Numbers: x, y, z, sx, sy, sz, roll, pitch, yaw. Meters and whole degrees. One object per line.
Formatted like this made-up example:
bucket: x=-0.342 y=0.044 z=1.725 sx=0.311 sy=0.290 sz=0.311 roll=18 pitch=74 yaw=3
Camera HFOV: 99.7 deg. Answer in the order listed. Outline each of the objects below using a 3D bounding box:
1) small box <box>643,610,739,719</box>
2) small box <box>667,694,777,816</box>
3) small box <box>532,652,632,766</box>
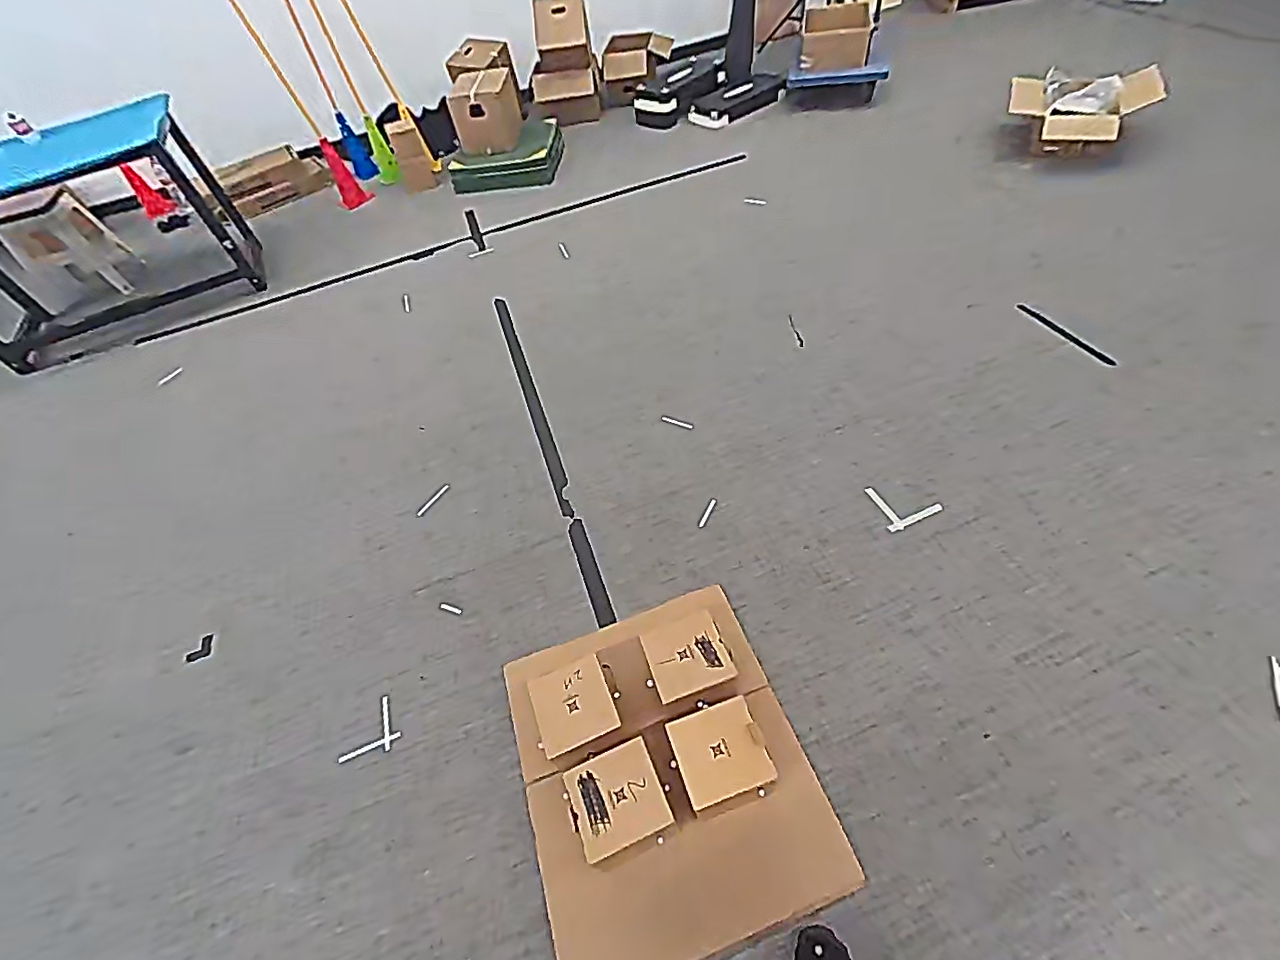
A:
small box: x=0.118 y=0.434 z=1.261 sx=0.179 sy=0.176 sz=0.168 roll=-18 pitch=52 yaw=-5
small box: x=0.169 y=0.580 z=1.133 sx=0.179 sy=0.176 sz=0.168 roll=-17 pitch=51 yaw=-6
small box: x=-0.128 y=0.527 z=1.228 sx=0.168 sy=0.176 sz=0.179 roll=-21 pitch=52 yaw=-8
